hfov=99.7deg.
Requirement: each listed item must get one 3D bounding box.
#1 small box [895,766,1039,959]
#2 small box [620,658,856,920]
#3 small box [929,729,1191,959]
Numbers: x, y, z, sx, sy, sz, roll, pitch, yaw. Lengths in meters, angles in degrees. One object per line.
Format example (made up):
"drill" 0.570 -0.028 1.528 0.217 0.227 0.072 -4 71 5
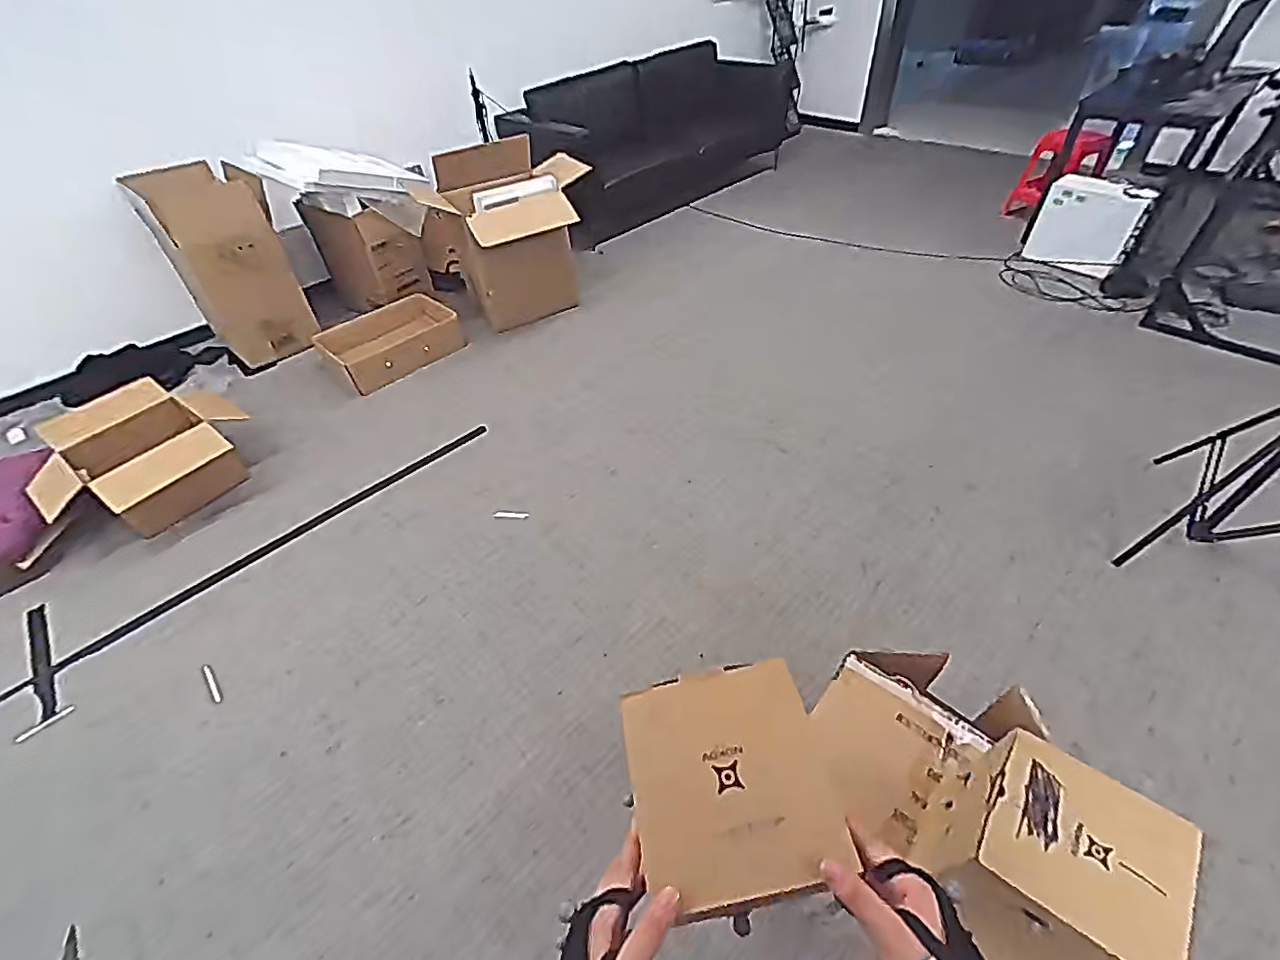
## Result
"small box" 0.489 0.541 0.752 0.179 0.176 0.168 28 57 27
"small box" 0.081 0.303 0.528 0.168 0.176 0.179 -12 50 -2
"small box" 0.468 0.434 0.627 0.179 0.176 0.168 28 58 28
